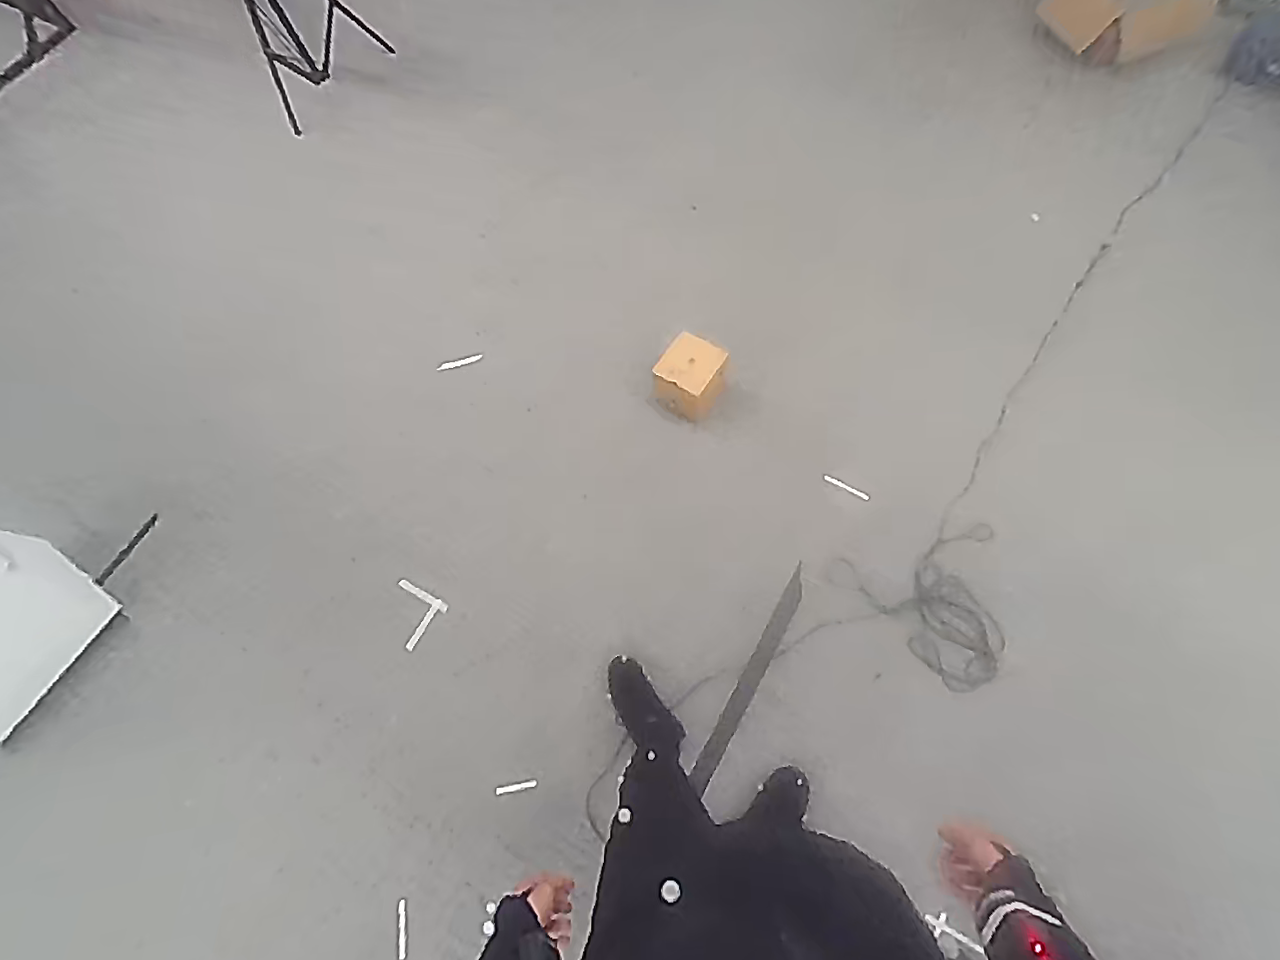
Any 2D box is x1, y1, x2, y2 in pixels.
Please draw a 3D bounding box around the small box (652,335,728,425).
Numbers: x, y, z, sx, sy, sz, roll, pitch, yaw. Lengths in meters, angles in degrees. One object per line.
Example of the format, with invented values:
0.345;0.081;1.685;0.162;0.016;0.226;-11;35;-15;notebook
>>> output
0.151;-0.304;1.667;0.168;0.176;0.179;31;75;16;small box
